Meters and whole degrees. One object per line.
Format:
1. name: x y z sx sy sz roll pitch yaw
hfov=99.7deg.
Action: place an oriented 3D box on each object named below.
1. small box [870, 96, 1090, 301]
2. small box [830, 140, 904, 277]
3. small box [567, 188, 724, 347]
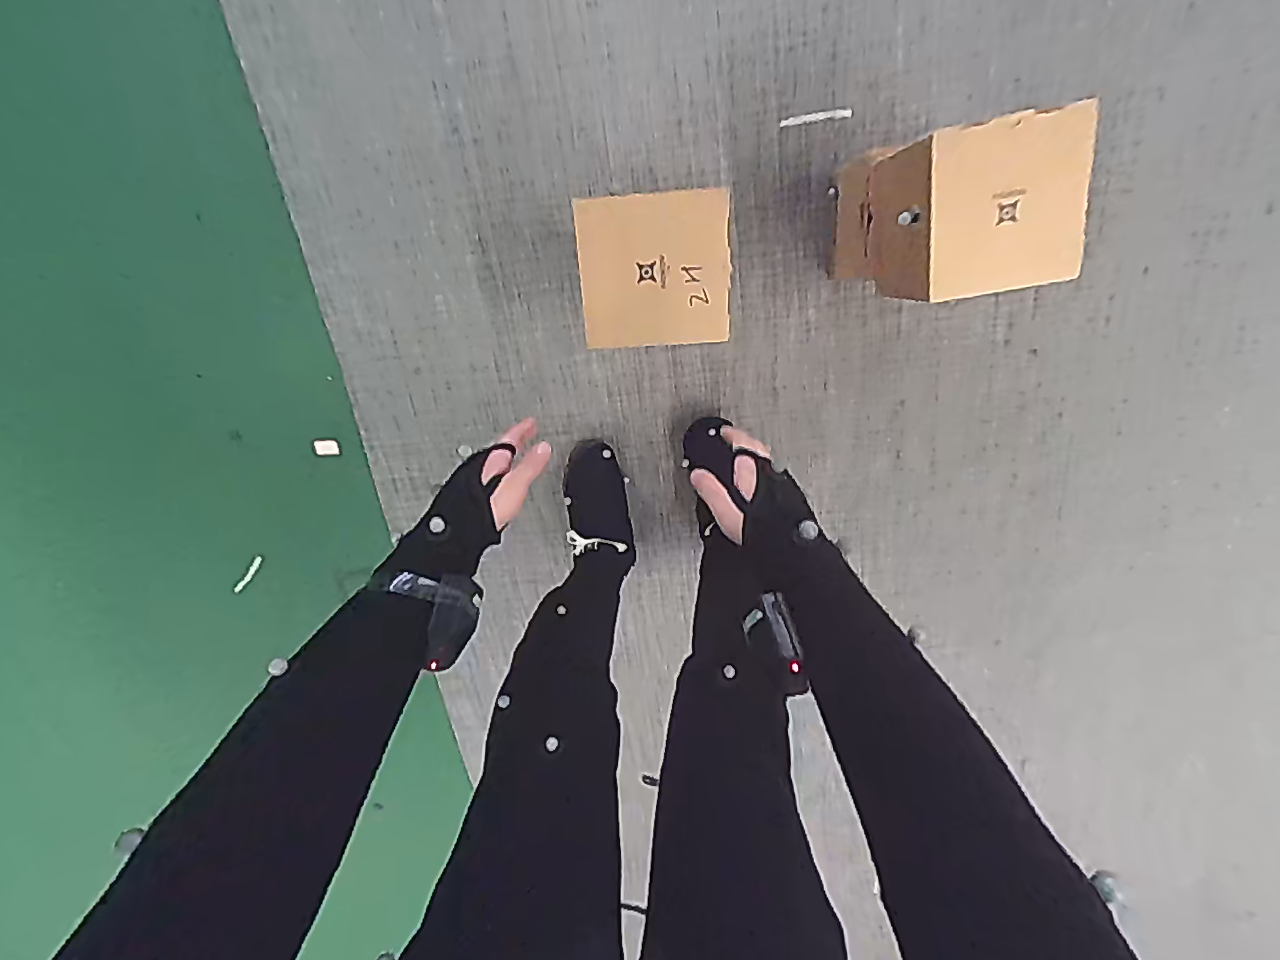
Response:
1. small box: 0.393 -0.326 0.657 0.168 0.176 0.179 -9 109 6
2. small box: 0.391 -0.398 0.805 0.179 0.176 0.168 -5 111 4
3. small box: 0.013 -0.265 0.693 0.179 0.176 0.168 -3 111 3
